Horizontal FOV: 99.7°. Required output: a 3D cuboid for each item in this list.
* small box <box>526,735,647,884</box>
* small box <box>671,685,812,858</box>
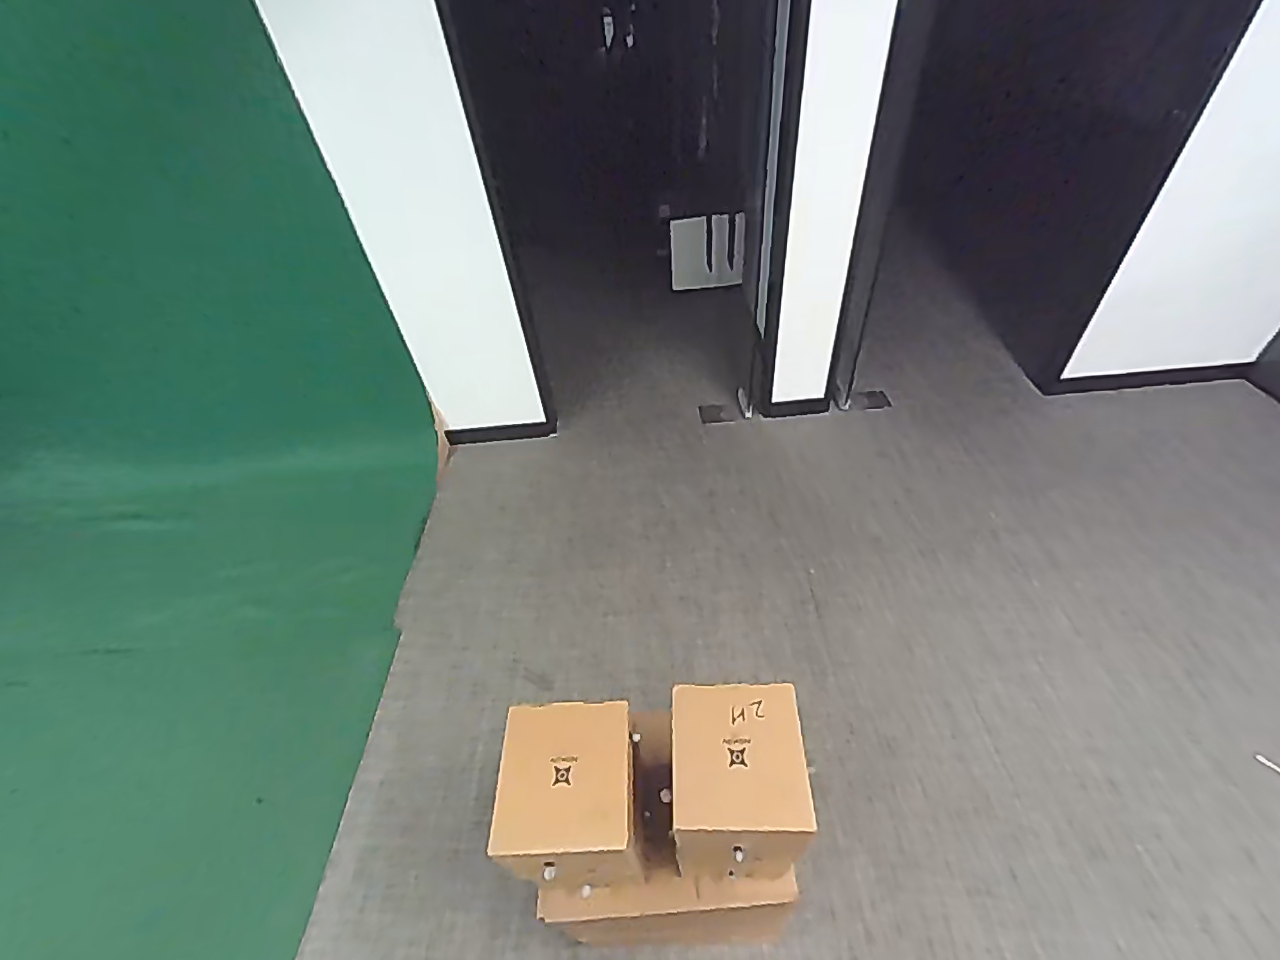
[{"bbox_3d":[-0.076,0.534,0.875,0.168,0.176,0.179,-3,47,3],"label":"small box"},{"bbox_3d":[0.133,0.401,0.741,0.168,0.176,0.179,-2,46,7],"label":"small box"}]
